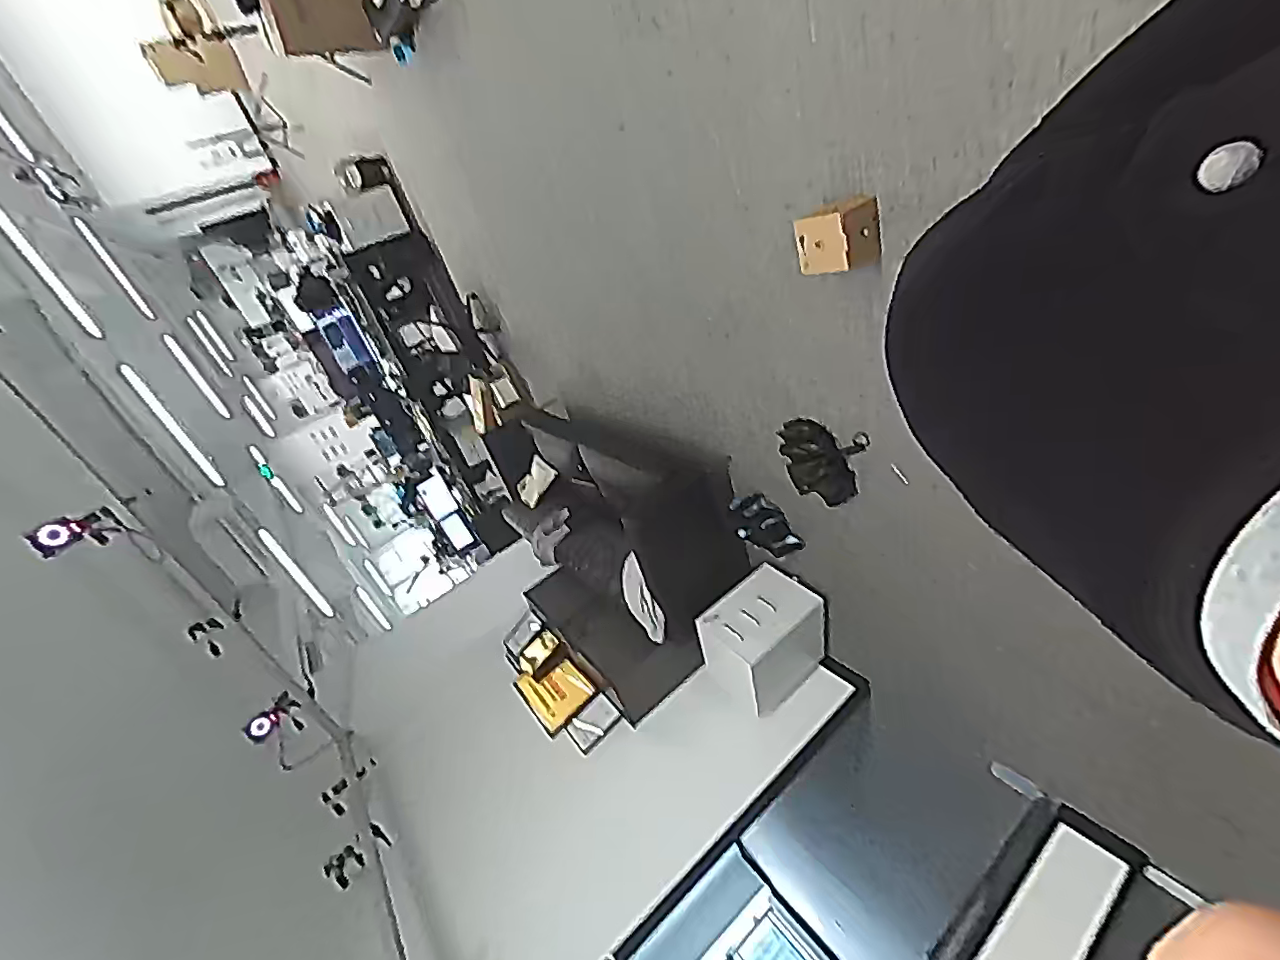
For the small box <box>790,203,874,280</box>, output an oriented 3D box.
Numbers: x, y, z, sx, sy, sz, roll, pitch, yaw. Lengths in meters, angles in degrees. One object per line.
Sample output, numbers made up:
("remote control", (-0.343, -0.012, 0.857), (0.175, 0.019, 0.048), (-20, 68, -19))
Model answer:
("small box", (0.597, -0.732, 1.662), (0.179, 0.176, 0.168), (22, 141, 52))
